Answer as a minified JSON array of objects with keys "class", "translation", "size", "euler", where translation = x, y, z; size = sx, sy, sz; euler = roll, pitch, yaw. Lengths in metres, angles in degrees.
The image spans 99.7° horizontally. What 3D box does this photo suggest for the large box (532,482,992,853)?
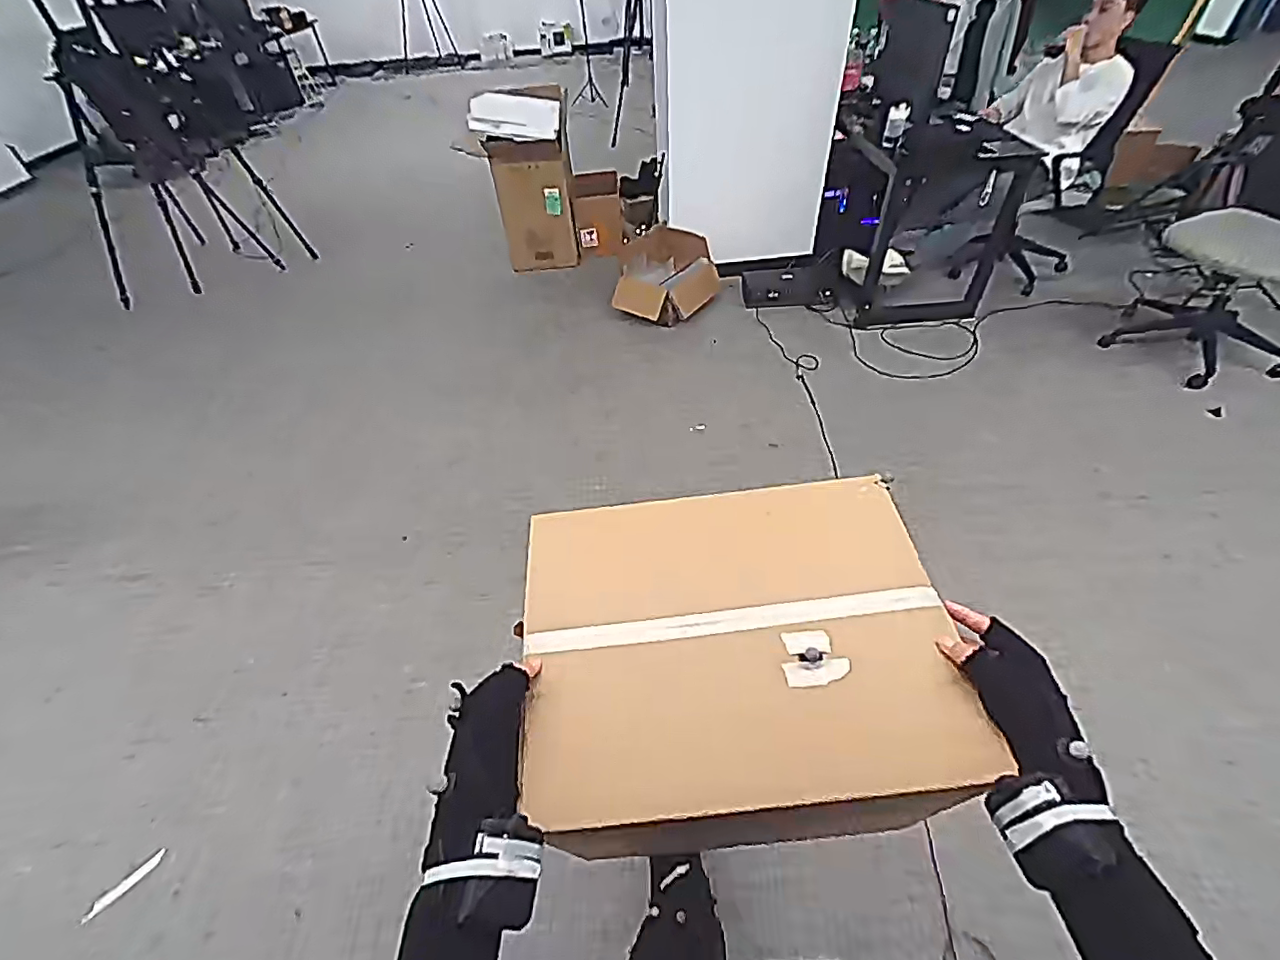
[{"class":"large box","translation":[0.100,0.237,0.663],"size":[0.408,0.320,0.320],"euler":[-7,52,1]}]
